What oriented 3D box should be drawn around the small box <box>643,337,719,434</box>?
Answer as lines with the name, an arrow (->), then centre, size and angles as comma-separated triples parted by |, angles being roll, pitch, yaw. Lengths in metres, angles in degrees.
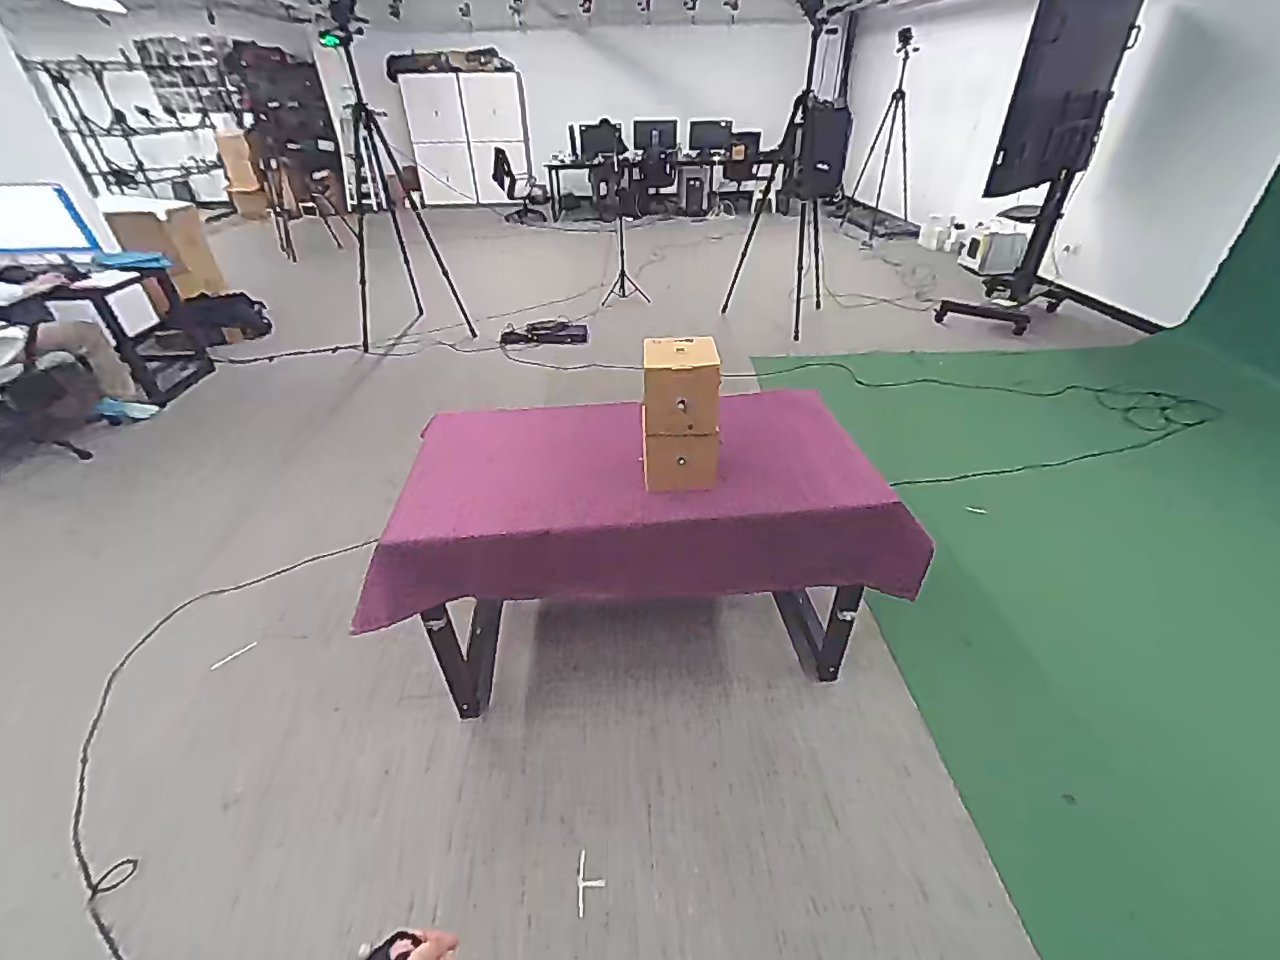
small box -> 0.093, -0.218, 1.256 | 0.168, 0.176, 0.179 | 0, 36, 1
